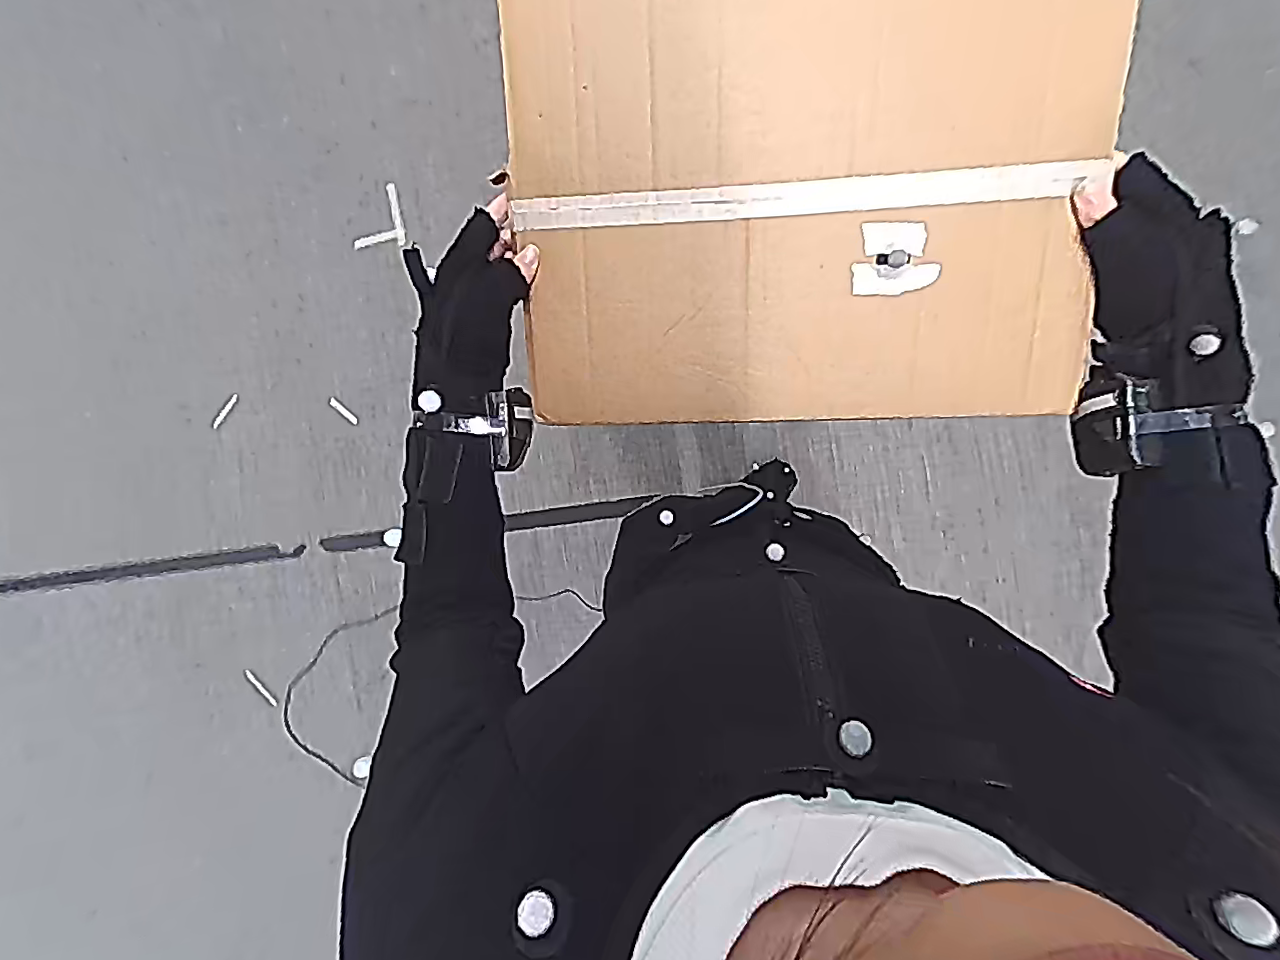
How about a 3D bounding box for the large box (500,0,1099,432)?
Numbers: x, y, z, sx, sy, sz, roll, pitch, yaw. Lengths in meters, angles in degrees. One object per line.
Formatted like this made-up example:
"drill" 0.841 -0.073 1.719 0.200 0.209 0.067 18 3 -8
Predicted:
"large box" 0.118 -0.233 0.537 0.408 0.320 0.320 -2 104 5
